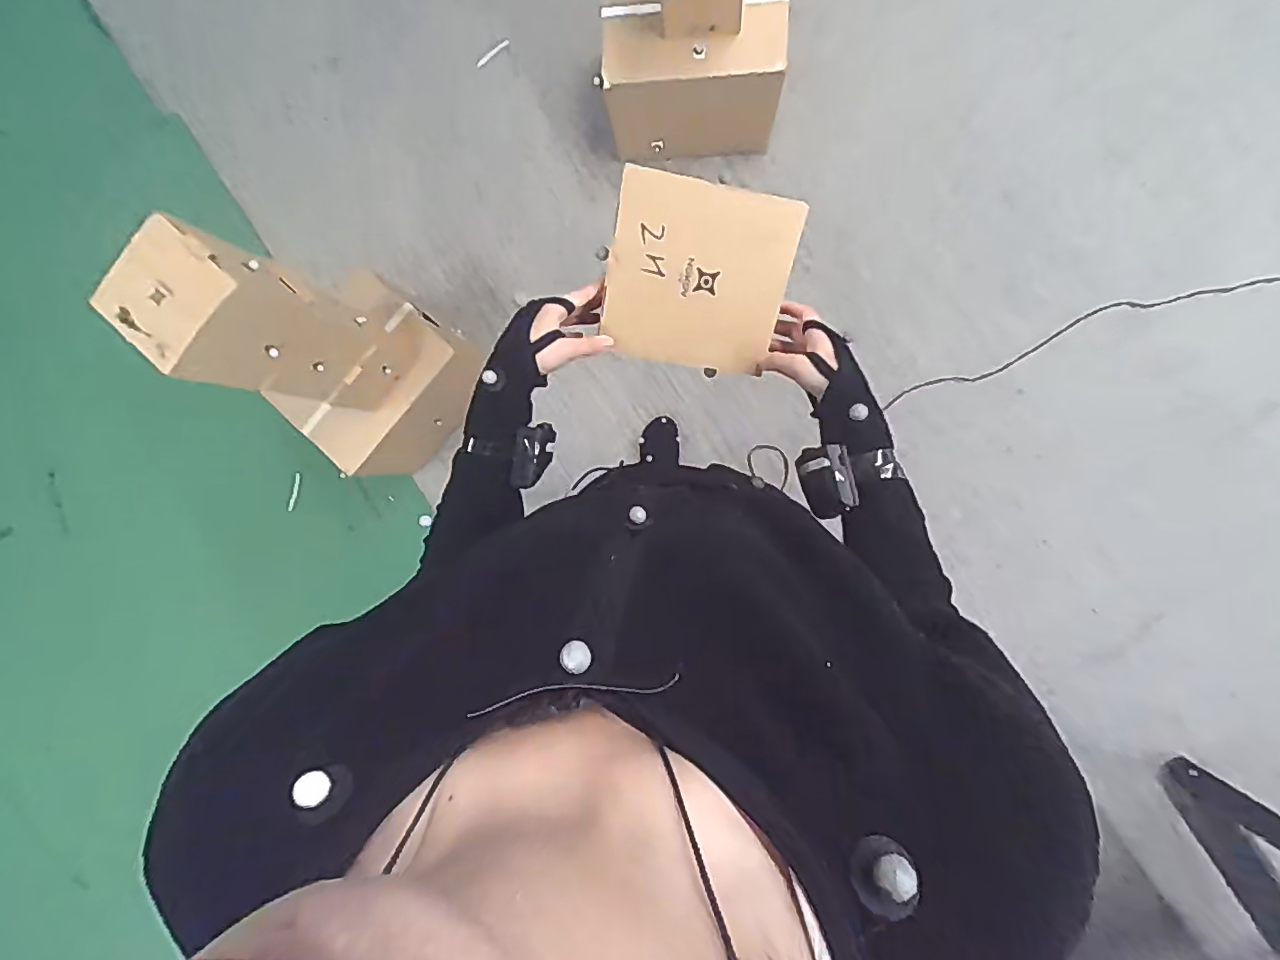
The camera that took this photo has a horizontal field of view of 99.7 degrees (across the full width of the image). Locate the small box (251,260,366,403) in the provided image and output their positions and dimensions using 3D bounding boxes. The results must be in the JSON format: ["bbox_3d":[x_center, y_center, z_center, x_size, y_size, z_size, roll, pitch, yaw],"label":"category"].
[{"bbox_3d":[-0.654,-0.267,1.014,0.168,0.176,0.179,41,95,4],"label":"small box"}]

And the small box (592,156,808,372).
[{"bbox_3d":[0.050,-0.230,0.583,0.179,0.176,0.168,10,113,-6],"label":"small box"}]

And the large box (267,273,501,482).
[{"bbox_3d":[-0.647,-0.247,1.424,0.320,0.320,0.408,42,96,5],"label":"large box"}]

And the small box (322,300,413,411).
[{"bbox_3d":[-0.637,-0.265,1.177,0.179,0.176,0.168,43,95,4],"label":"small box"}]

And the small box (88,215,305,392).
[{"bbox_3d":[-0.675,-0.264,0.851,0.168,0.176,0.179,42,94,4],"label":"small box"}]
